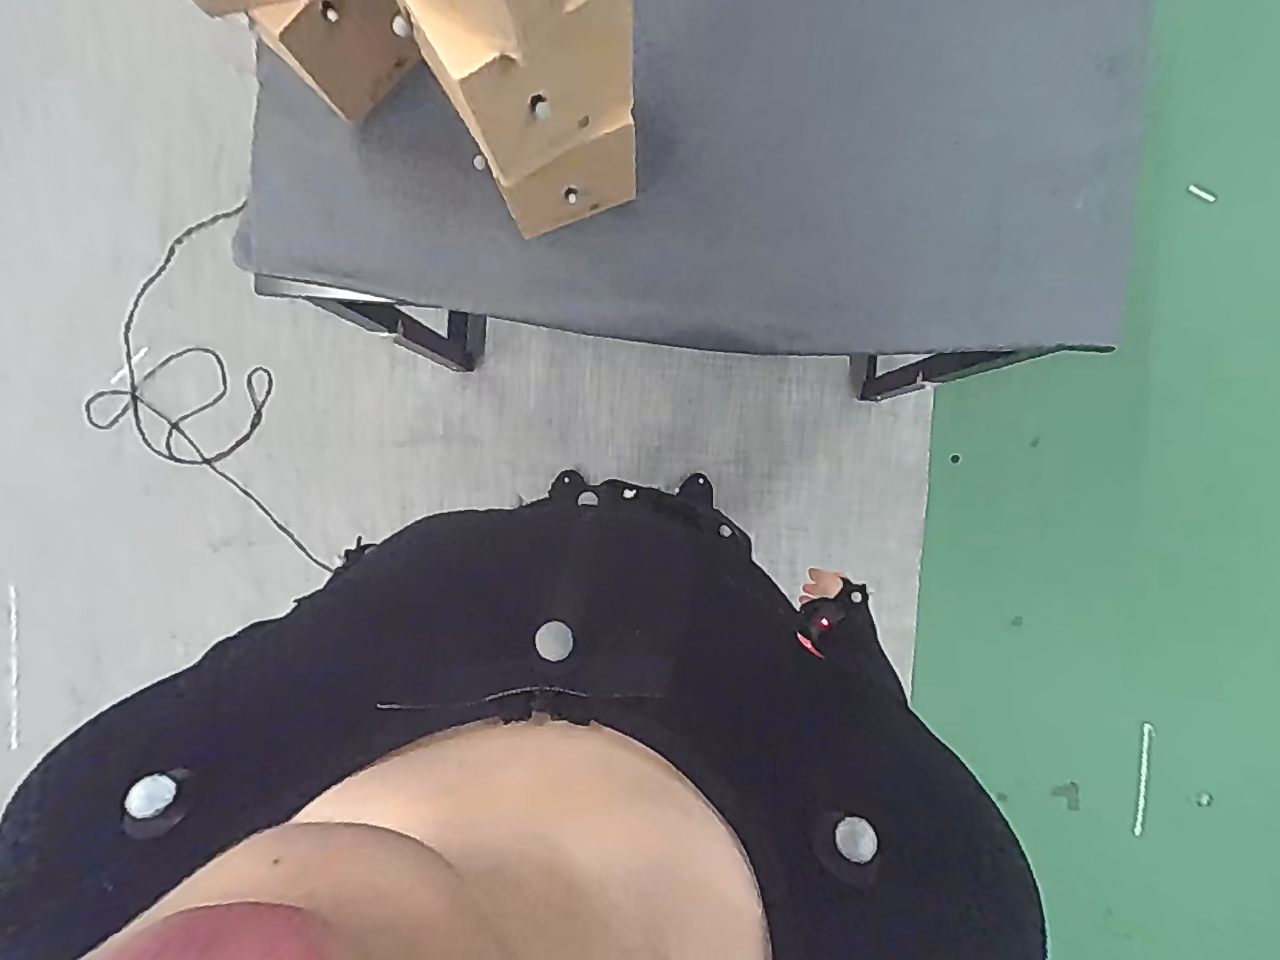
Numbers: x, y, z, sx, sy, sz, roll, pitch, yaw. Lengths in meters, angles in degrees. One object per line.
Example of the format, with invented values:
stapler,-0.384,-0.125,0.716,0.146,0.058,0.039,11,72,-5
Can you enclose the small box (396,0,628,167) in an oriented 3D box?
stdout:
small box,-0.121,-0.431,0.501,0.168,0.176,0.179,-32,91,1

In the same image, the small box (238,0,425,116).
small box,-0.399,-0.604,0.660,0.179,0.176,0.168,44,92,-1

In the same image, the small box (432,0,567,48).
small box,-0.119,-0.434,0.339,0.179,0.176,0.168,32,93,-1

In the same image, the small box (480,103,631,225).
small box,-0.114,-0.442,0.663,0.168,0.176,0.179,-21,91,0
